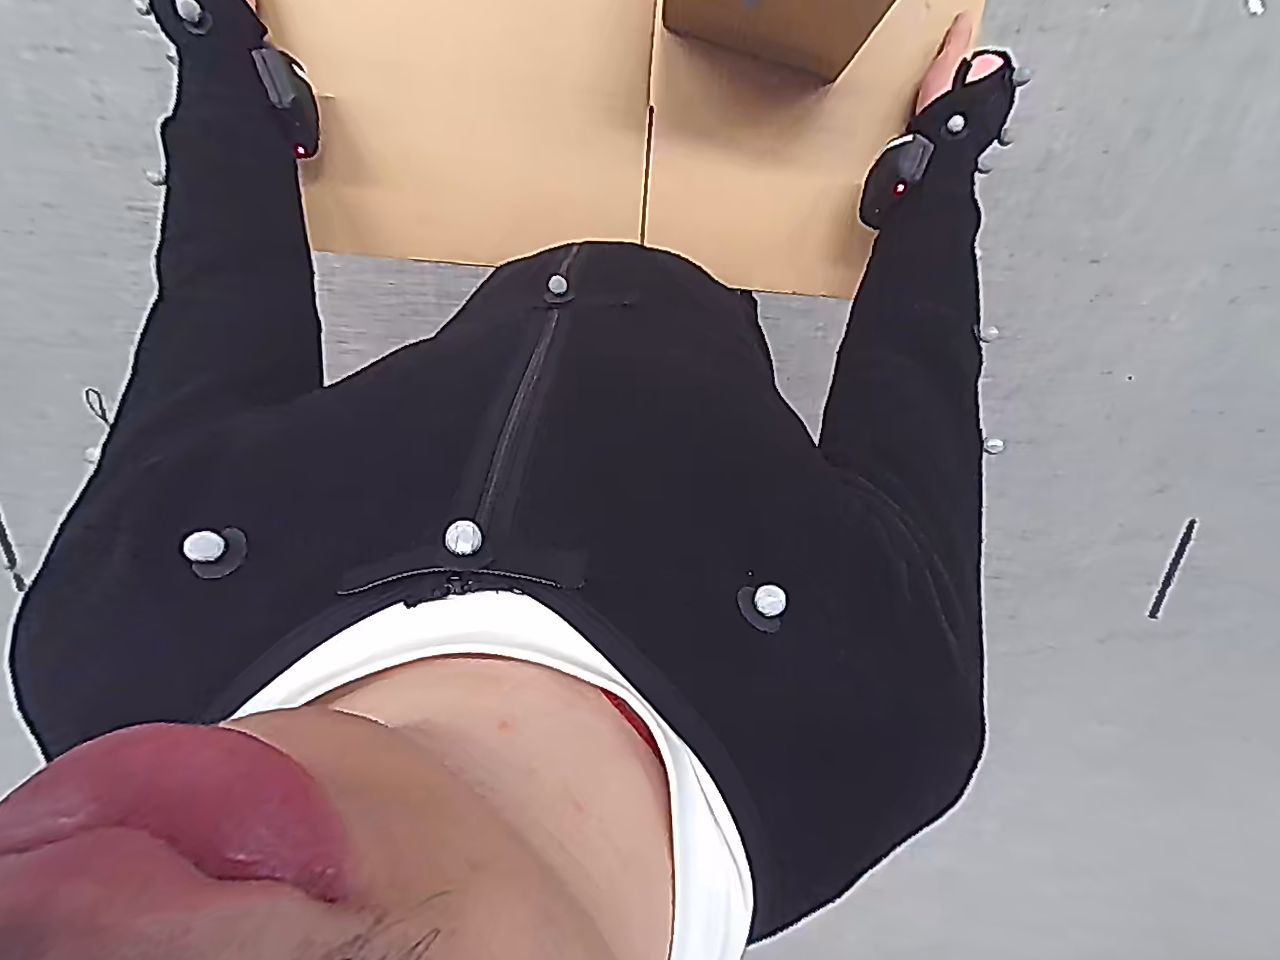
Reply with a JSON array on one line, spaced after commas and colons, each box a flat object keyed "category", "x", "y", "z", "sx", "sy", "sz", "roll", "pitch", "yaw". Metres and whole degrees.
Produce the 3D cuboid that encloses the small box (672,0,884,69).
[{"category": "small box", "x": 0.126, "y": -0.459, "z": 0.413, "sx": 0.179, "sy": 0.176, "sz": 0.168, "roll": 15, "pitch": 106, "yaw": -2}]
